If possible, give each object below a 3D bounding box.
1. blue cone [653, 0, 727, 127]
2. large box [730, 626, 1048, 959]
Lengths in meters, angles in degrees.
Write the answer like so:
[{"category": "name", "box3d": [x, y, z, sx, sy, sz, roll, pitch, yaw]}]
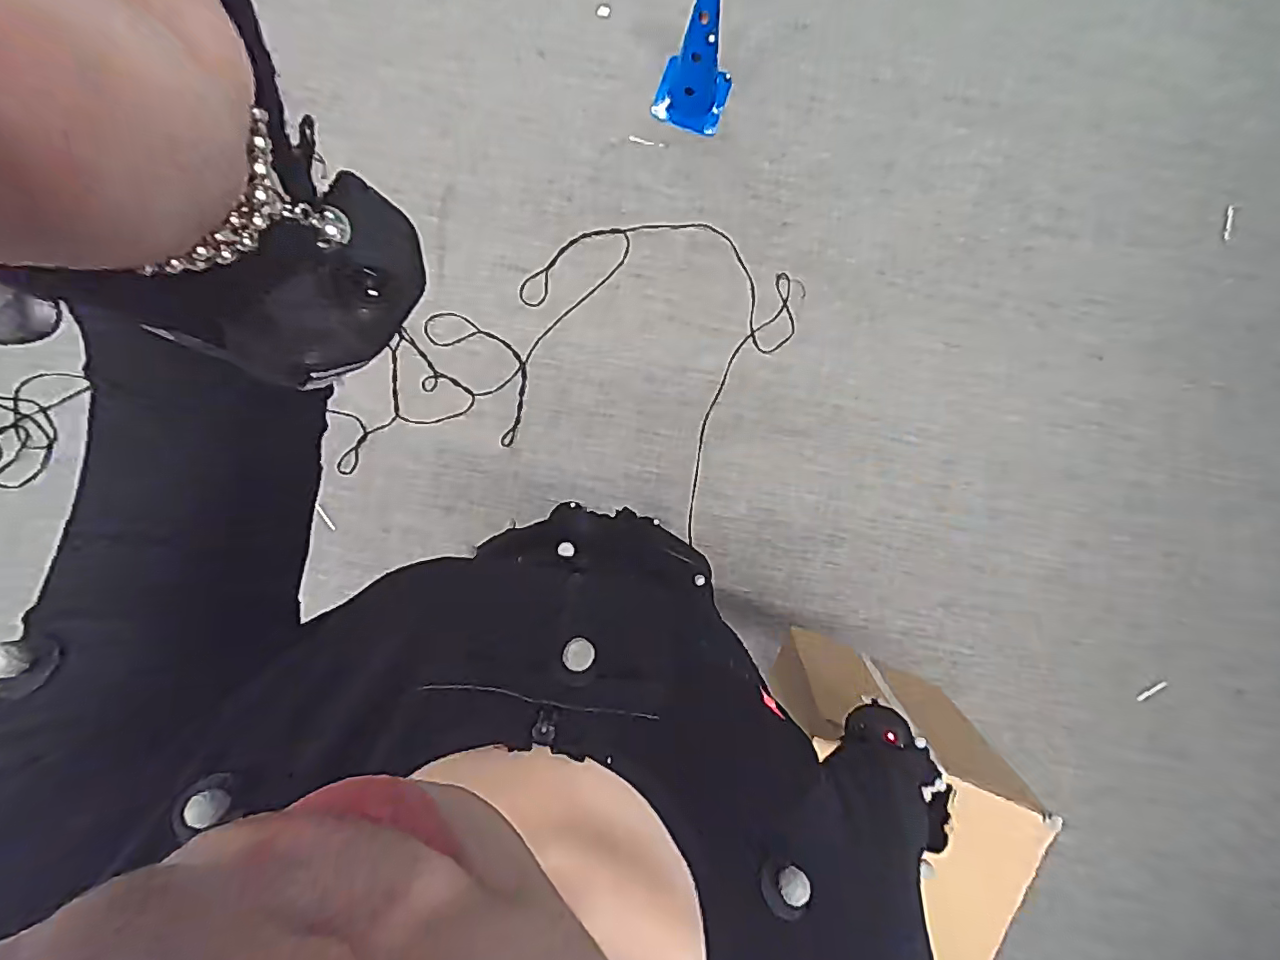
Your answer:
[{"category": "blue cone", "box3d": [0.153, -1.145, 1.415, 0.193, 0.380, 0.192, 20, 86, -2]}, {"category": "large box", "box3d": [0.352, 0.507, 0.910, 0.320, 0.408, 0.320, 21, 97, 8]}]
